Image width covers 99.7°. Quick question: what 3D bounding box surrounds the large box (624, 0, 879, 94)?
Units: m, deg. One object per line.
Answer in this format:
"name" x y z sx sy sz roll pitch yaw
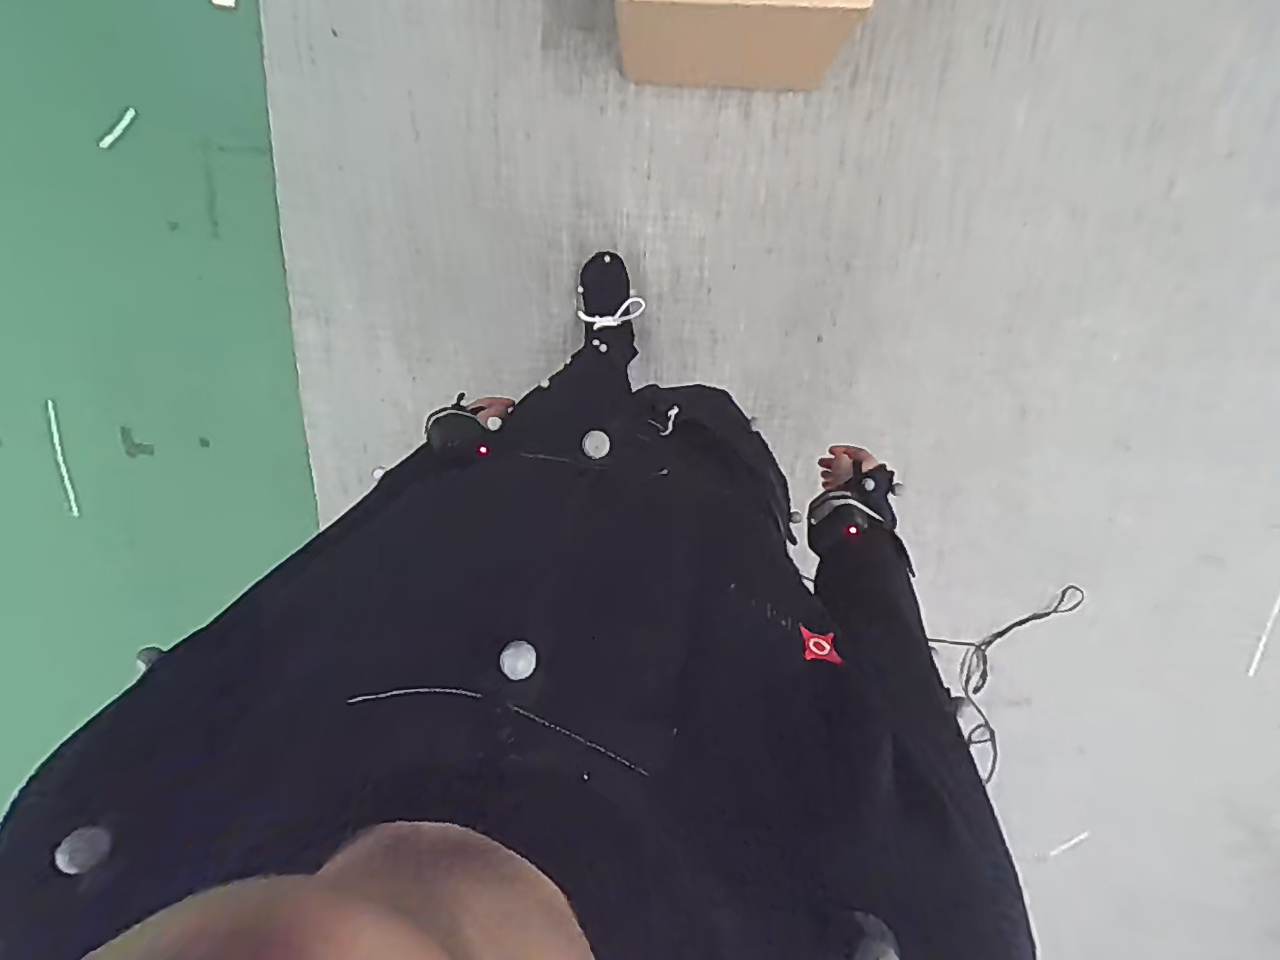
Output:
"large box" 0.176 -0.915 0.946 0.408 0.320 0.320 3 107 0
